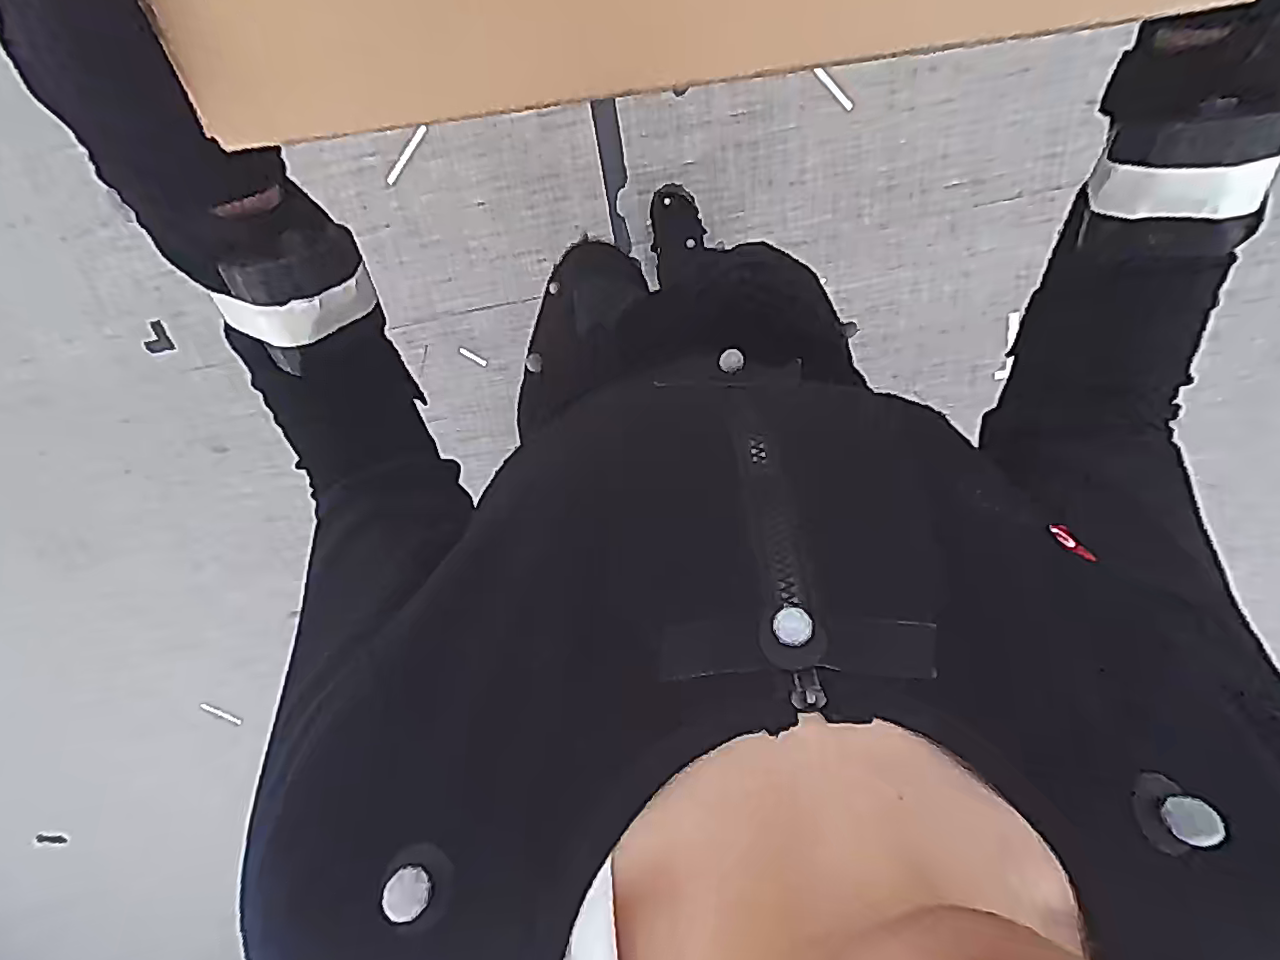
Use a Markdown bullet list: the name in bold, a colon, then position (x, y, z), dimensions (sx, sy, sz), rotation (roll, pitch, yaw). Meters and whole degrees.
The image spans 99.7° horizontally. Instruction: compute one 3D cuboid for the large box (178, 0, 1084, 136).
- **large box**: position (0.003, -0.381, 0.236), dimensions (0.408, 0.320, 0.320), rotation (-7, 131, 2)
